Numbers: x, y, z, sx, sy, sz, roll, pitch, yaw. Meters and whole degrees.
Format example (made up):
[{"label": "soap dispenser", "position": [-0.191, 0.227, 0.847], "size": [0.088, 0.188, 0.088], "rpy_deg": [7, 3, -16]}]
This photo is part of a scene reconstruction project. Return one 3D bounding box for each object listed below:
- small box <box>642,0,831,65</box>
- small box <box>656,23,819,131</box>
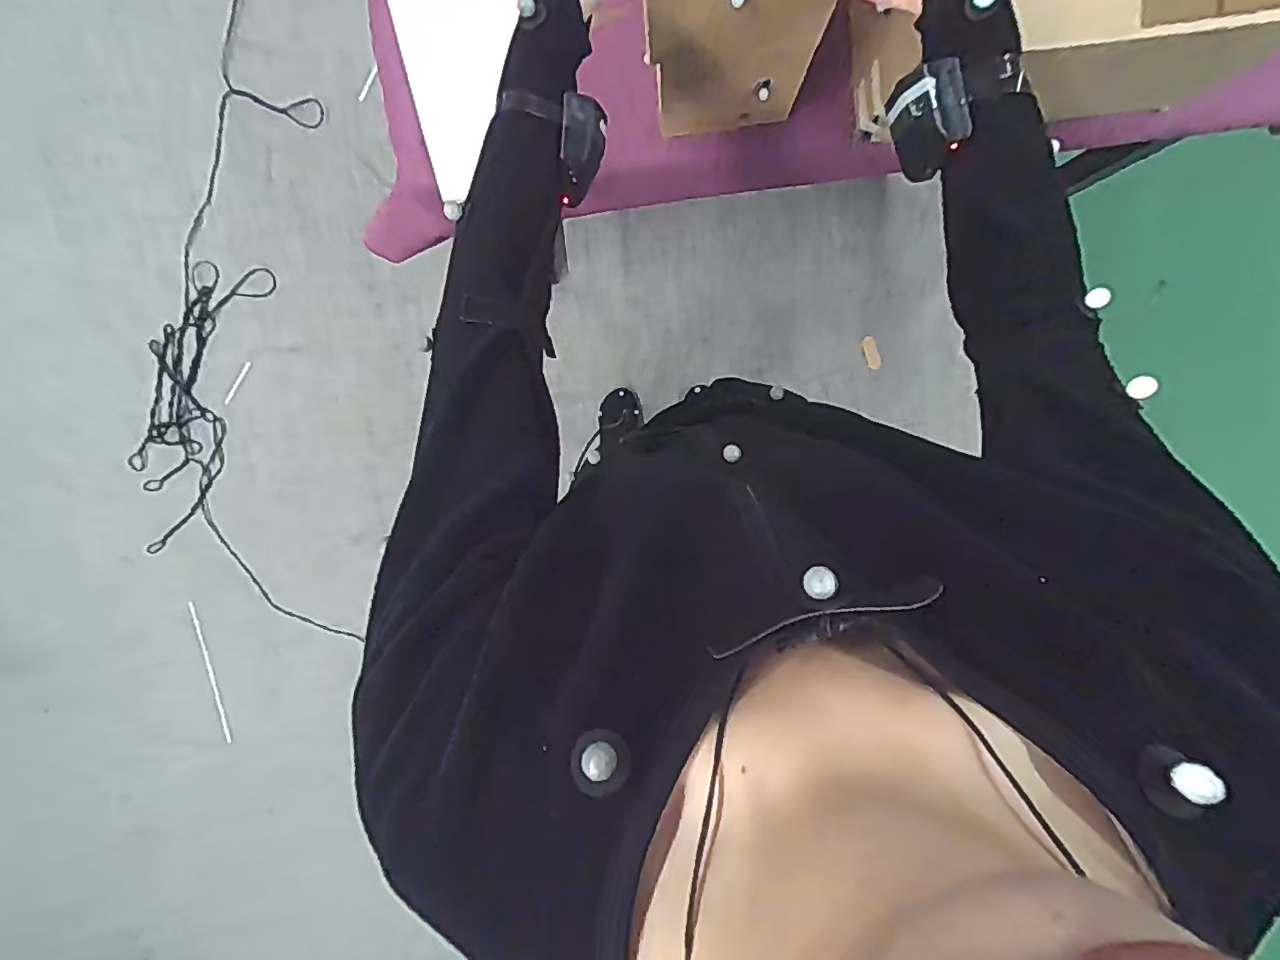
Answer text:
[{"label": "small box", "position": [0.084, -0.498, 0.460], "size": [0.179, 0.176, 0.168], "rpy_deg": [-4, 97, 4]}, {"label": "small box", "position": [0.100, -0.531, 0.619], "size": [0.168, 0.176, 0.179], "rpy_deg": [-5, 97, 4]}]
